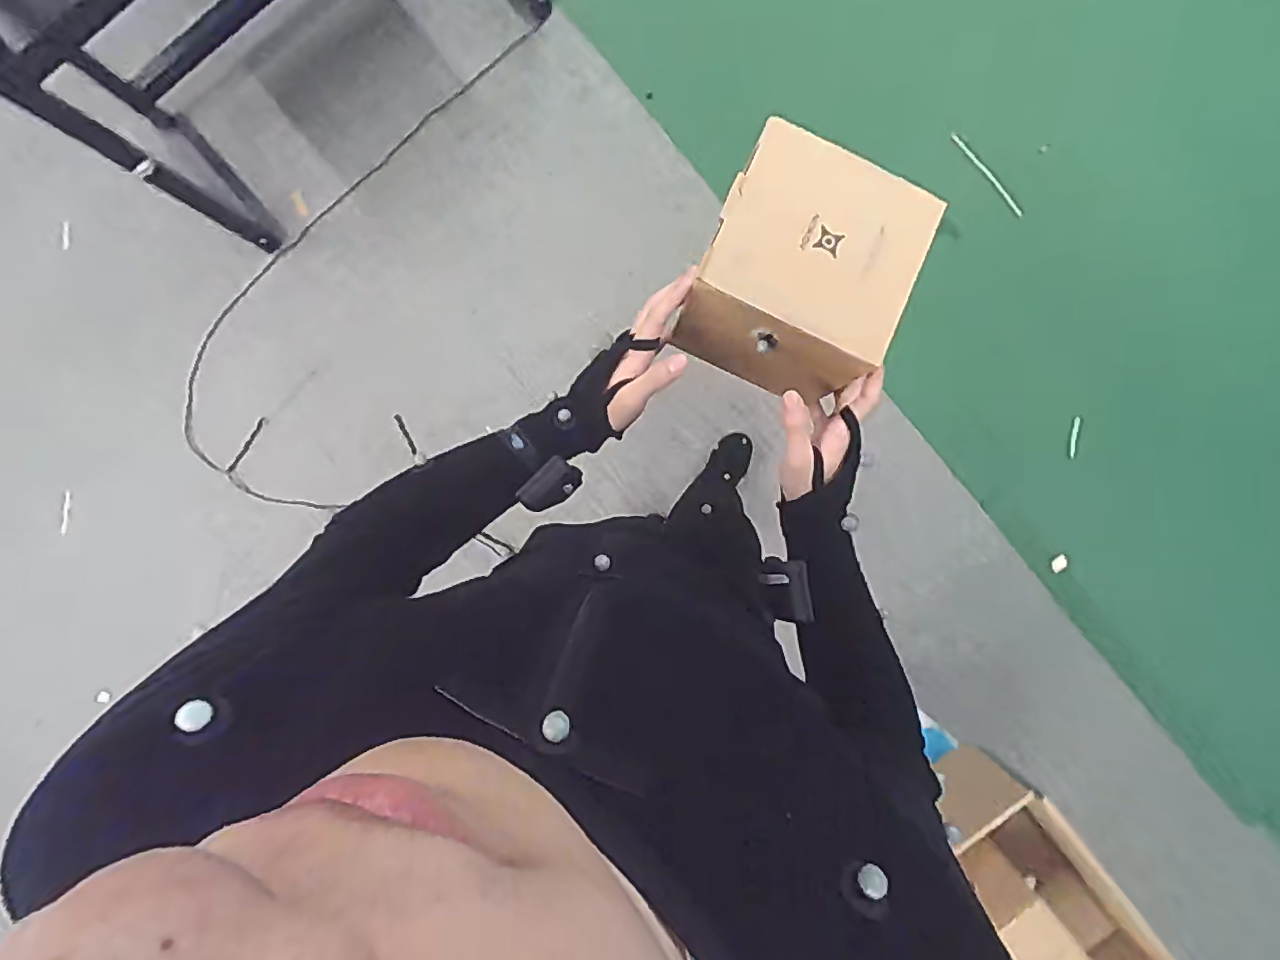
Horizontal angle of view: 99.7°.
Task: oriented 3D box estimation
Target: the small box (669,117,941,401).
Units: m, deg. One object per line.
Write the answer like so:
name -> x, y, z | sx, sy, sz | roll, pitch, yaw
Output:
small box -> 0.143, -0.195, 0.532 | 0.179, 0.176, 0.168 | 25, 83, -3
